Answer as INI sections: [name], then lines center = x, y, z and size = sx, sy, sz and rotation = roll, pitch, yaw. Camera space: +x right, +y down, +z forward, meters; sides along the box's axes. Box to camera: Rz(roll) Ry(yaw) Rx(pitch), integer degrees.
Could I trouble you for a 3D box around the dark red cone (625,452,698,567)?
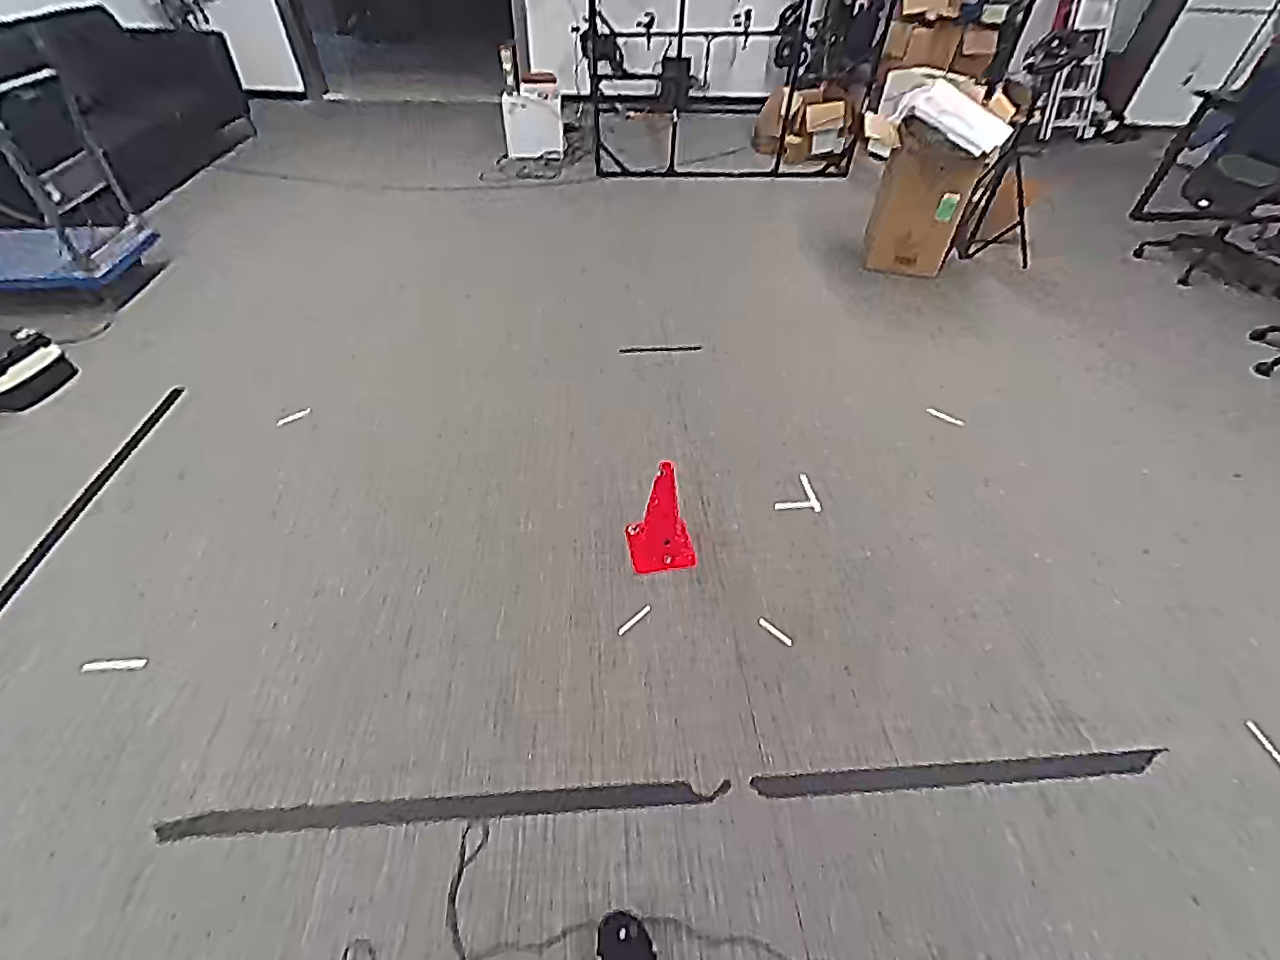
[dark red cone]
center = 0.068, 0.070, 1.571
size = 0.202, 0.394, 0.201
rotation = -8, 47, -9
